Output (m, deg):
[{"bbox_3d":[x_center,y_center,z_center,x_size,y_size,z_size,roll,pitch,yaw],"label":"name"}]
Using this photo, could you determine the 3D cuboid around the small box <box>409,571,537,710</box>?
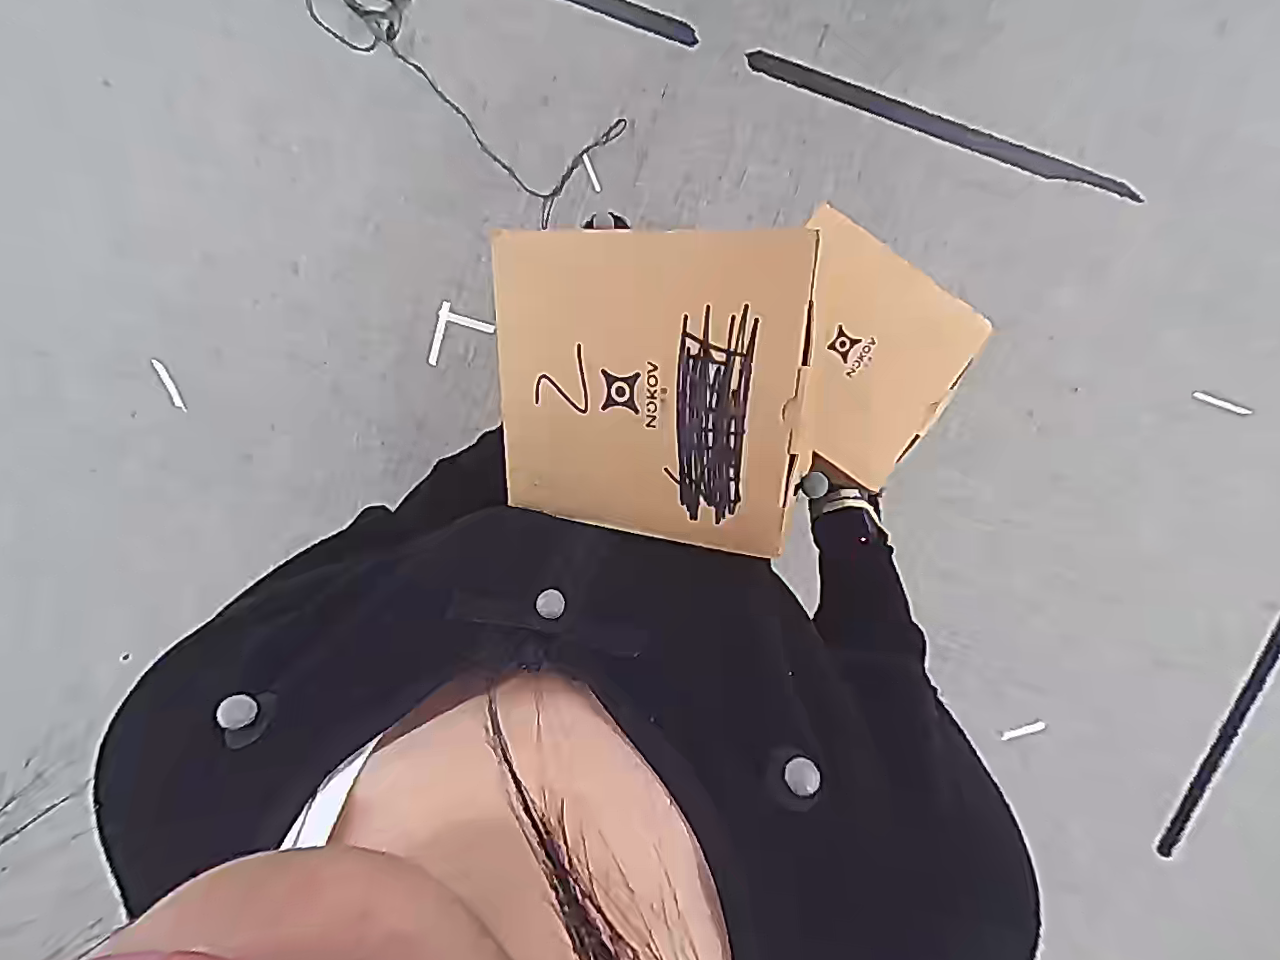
[{"bbox_3d":[-0.295,0.282,0.989,0.168,0.176,0.179,12,98,2],"label":"small box"}]

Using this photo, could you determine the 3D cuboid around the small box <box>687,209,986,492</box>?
[{"bbox_3d":[0.167,-0.112,0.520,0.179,0.176,0.168,34,93,-6],"label":"small box"}]
